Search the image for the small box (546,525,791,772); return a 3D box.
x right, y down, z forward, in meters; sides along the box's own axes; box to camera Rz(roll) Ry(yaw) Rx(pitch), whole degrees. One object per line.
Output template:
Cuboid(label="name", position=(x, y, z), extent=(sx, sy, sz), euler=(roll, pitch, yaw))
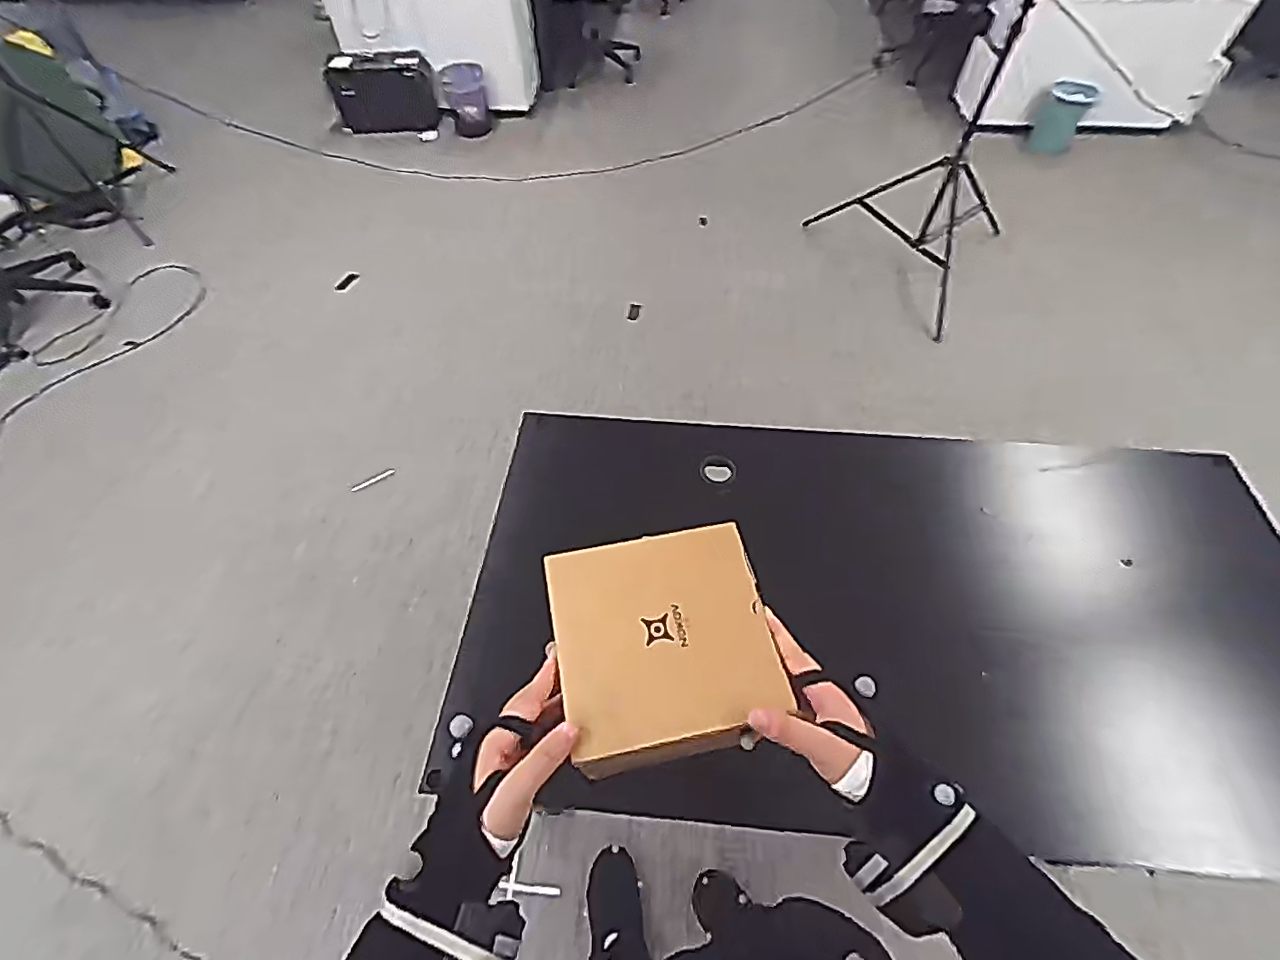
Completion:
Cuboid(label="small box", position=(0.016, 0.166, 0.514), extent=(0.179, 0.176, 0.168), euler=(-10, 59, -8))
